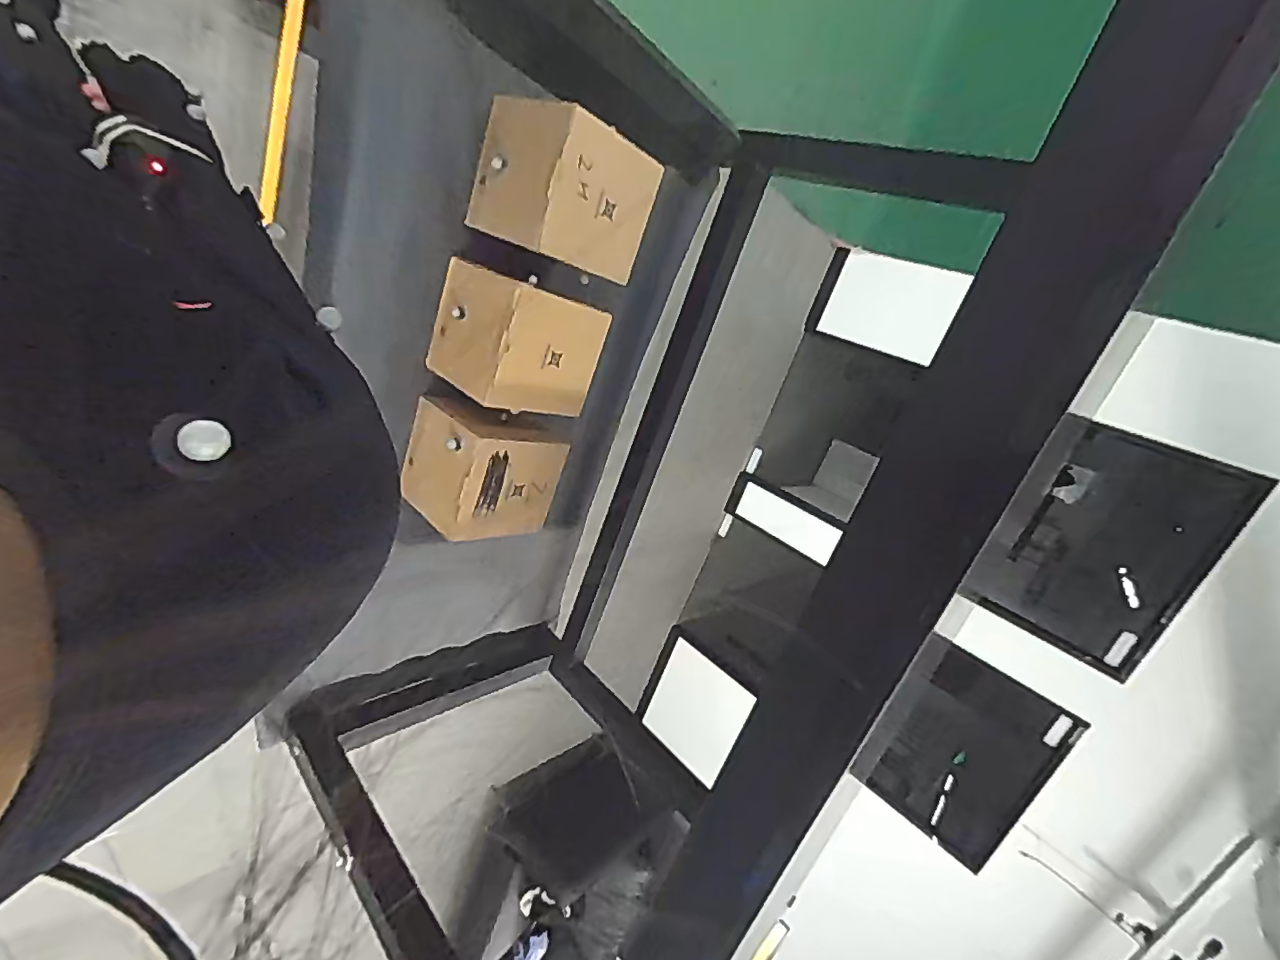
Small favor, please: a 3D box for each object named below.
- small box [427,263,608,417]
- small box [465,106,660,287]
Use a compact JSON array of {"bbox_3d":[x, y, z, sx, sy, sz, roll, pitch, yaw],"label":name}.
[{"bbox_3d":[-0.185,-0.207,0.809,0.179,0.176,0.168,-1,118,-51],"label":"small box"},{"bbox_3d":[-0.109,-0.392,0.752,0.179,0.176,0.168,-2,118,-52],"label":"small box"}]
